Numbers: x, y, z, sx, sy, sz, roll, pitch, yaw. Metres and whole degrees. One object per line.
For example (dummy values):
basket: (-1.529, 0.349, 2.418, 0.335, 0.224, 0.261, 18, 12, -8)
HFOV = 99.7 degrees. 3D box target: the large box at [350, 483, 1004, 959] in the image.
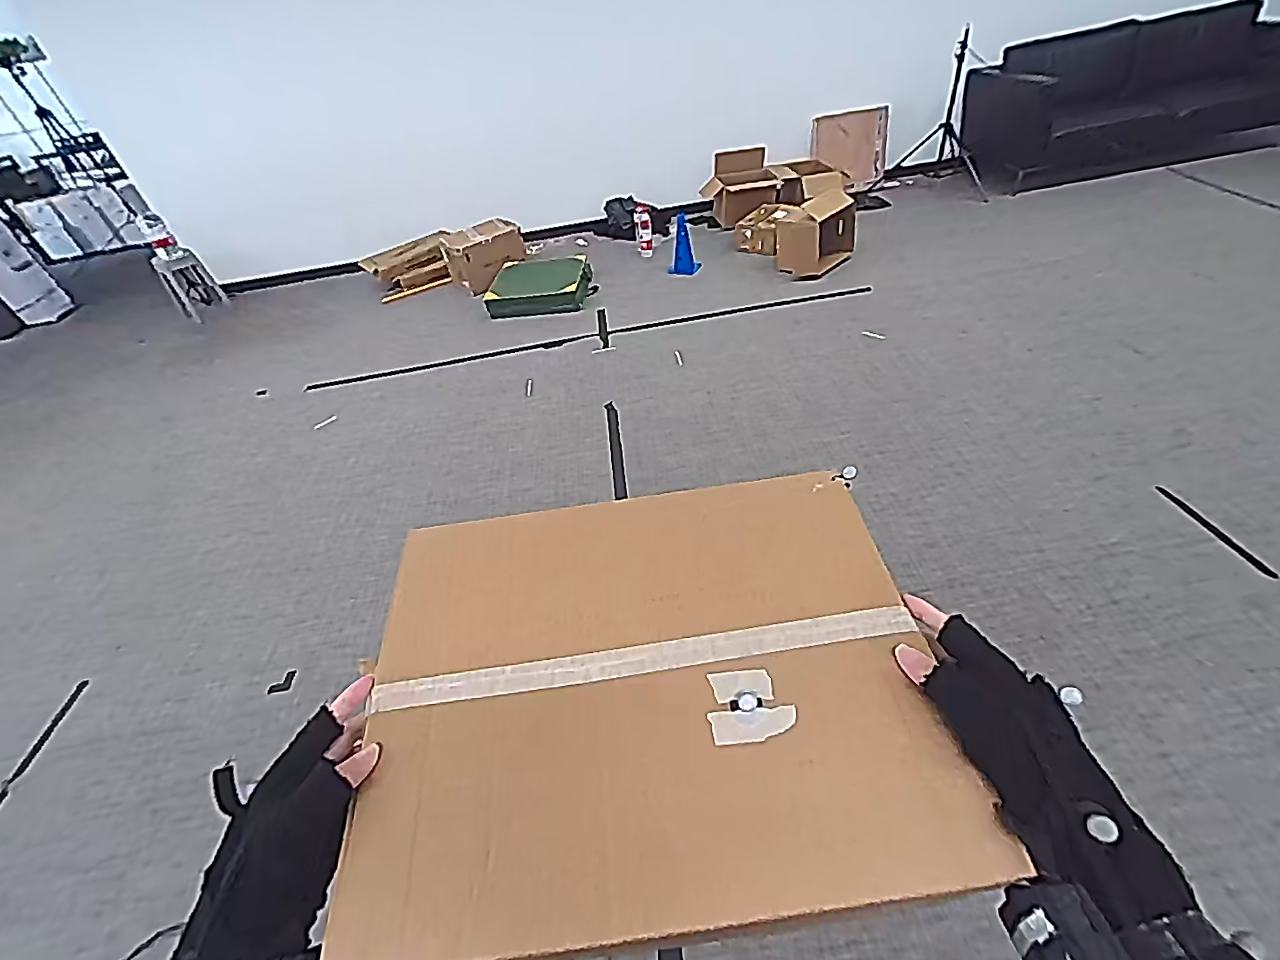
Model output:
large box: (0.017, 0.241, 0.526, 0.408, 0.320, 0.320, -8, 49, -1)
